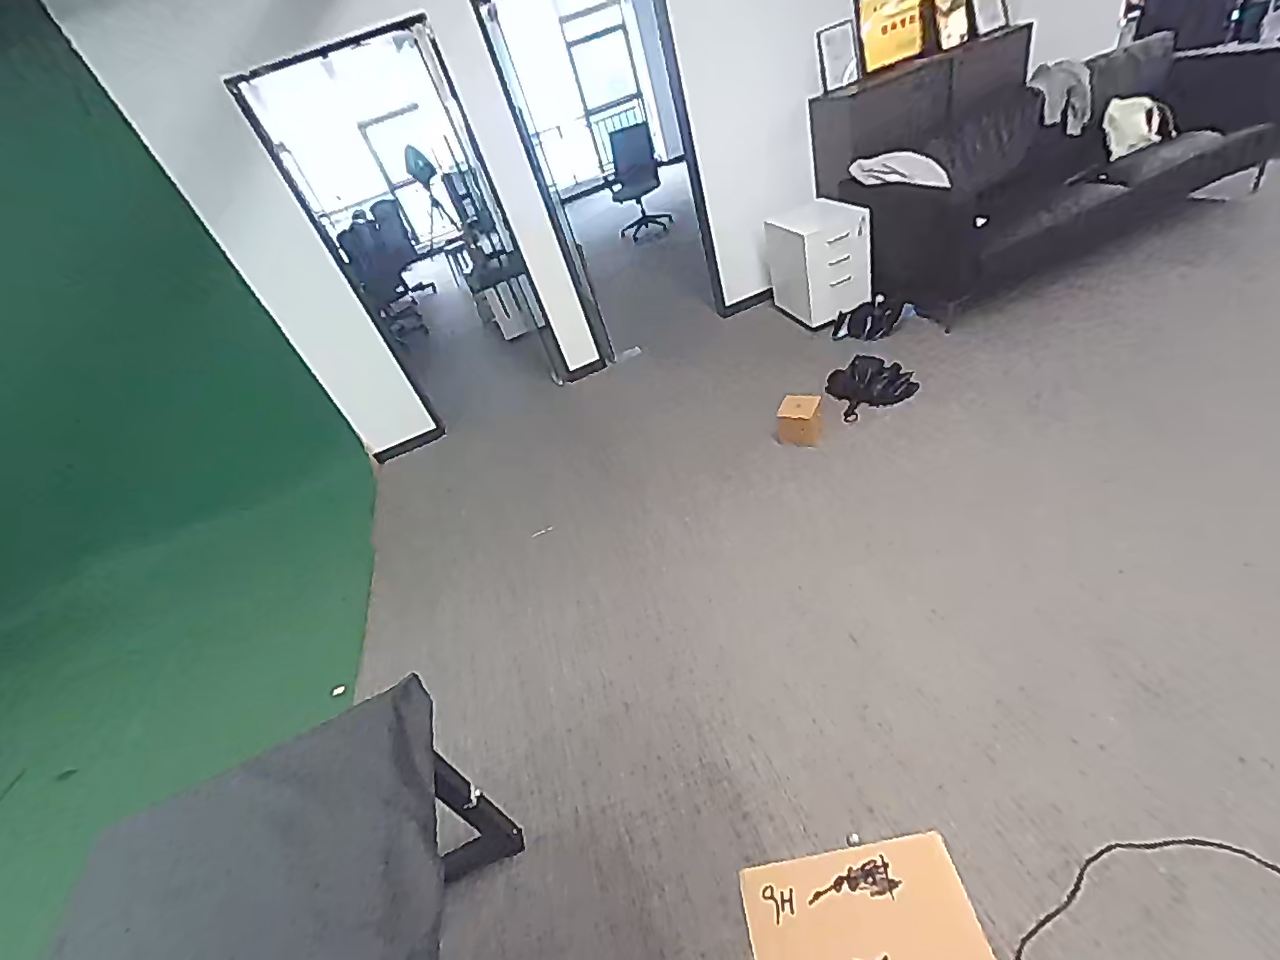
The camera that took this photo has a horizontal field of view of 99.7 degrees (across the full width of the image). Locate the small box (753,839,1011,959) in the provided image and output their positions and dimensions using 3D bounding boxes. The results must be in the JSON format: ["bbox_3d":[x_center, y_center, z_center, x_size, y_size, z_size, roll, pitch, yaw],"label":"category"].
[{"bbox_3d":[0.201,0.413,0.419,0.168,0.176,0.179,-17,41,7],"label":"small box"}]
